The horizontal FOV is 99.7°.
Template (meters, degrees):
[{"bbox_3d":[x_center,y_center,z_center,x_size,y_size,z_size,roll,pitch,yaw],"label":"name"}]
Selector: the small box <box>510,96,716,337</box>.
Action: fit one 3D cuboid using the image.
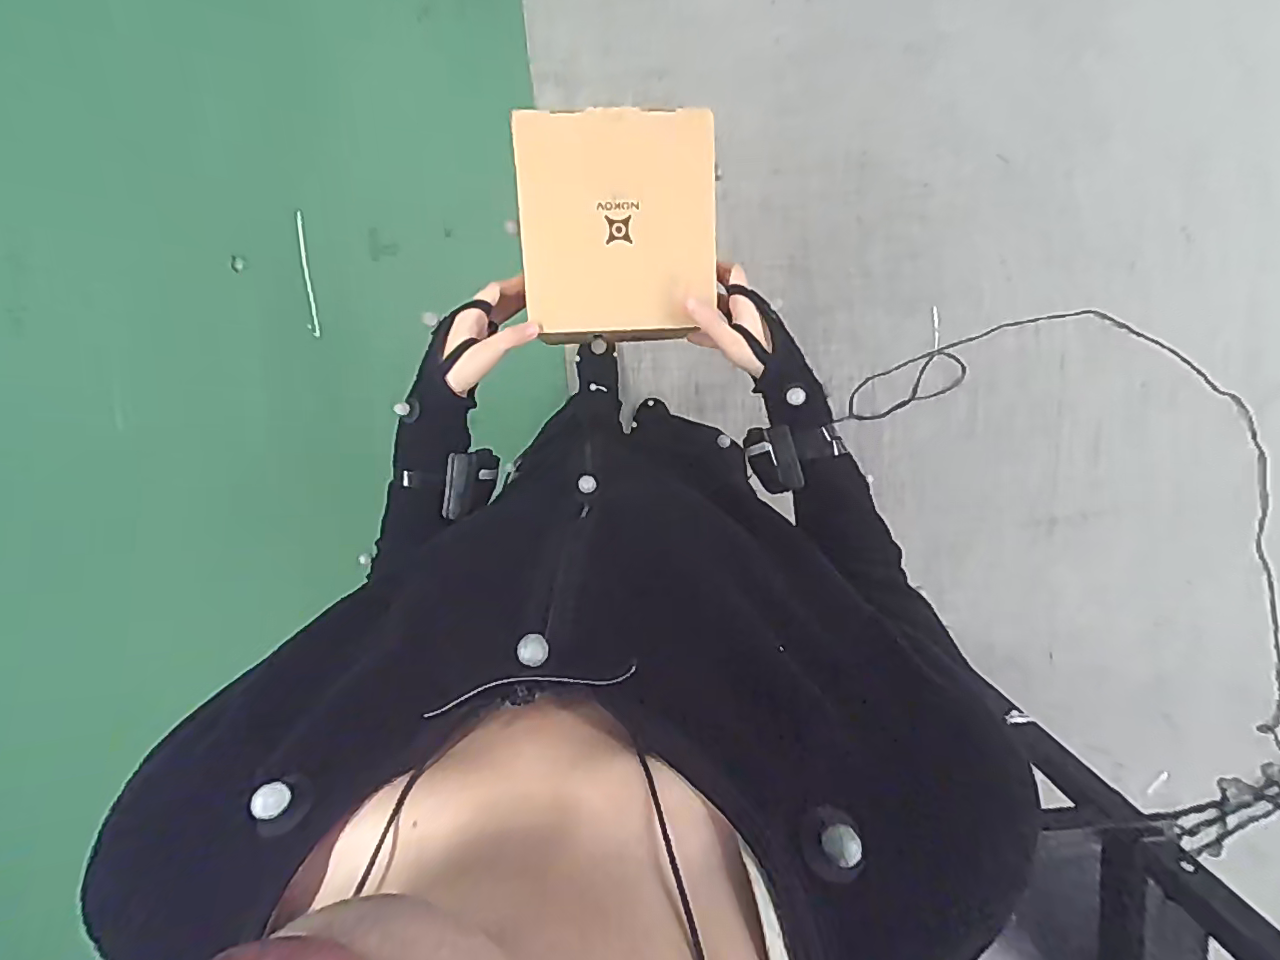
[{"bbox_3d":[-0.024,-0.231,0.520,0.168,0.176,0.179,-3,100,-4],"label":"small box"}]
